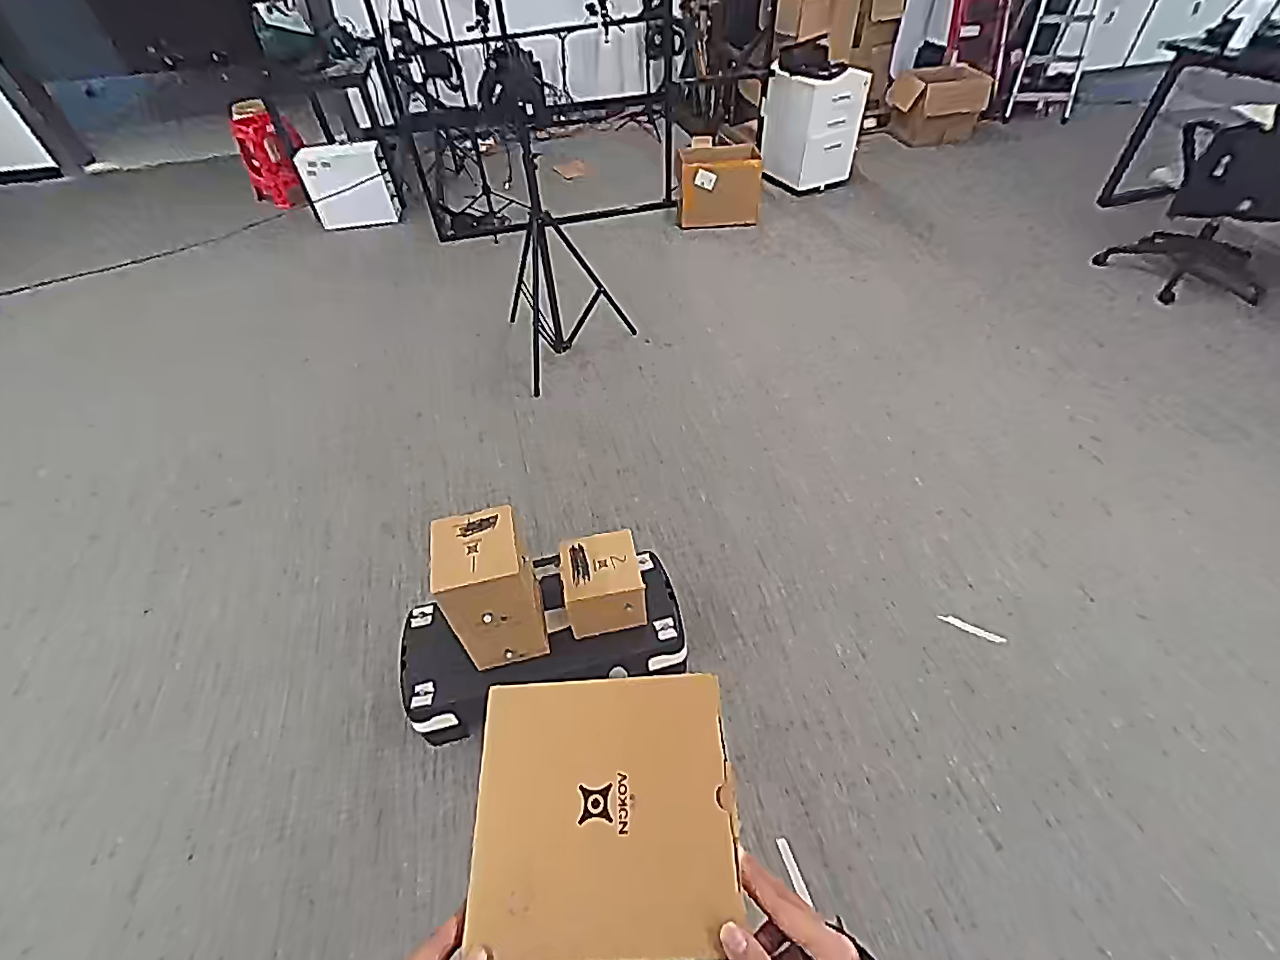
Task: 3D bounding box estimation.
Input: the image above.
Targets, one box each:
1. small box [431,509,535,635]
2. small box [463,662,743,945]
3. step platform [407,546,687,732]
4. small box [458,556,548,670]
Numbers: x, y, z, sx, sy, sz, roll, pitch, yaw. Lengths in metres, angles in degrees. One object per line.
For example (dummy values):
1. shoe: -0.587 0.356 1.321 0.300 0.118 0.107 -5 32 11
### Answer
1. small box: -0.319 0.190 1.116 0.168 0.176 0.179 -12 48 -7
2. small box: -0.019 0.258 0.436 0.179 0.176 0.168 -4 55 2
3. step platform: -0.227 0.392 1.385 0.684 0.204 0.286 -13 47 -8
4. small box: -0.310 0.304 1.234 0.168 0.176 0.179 -12 48 -7
